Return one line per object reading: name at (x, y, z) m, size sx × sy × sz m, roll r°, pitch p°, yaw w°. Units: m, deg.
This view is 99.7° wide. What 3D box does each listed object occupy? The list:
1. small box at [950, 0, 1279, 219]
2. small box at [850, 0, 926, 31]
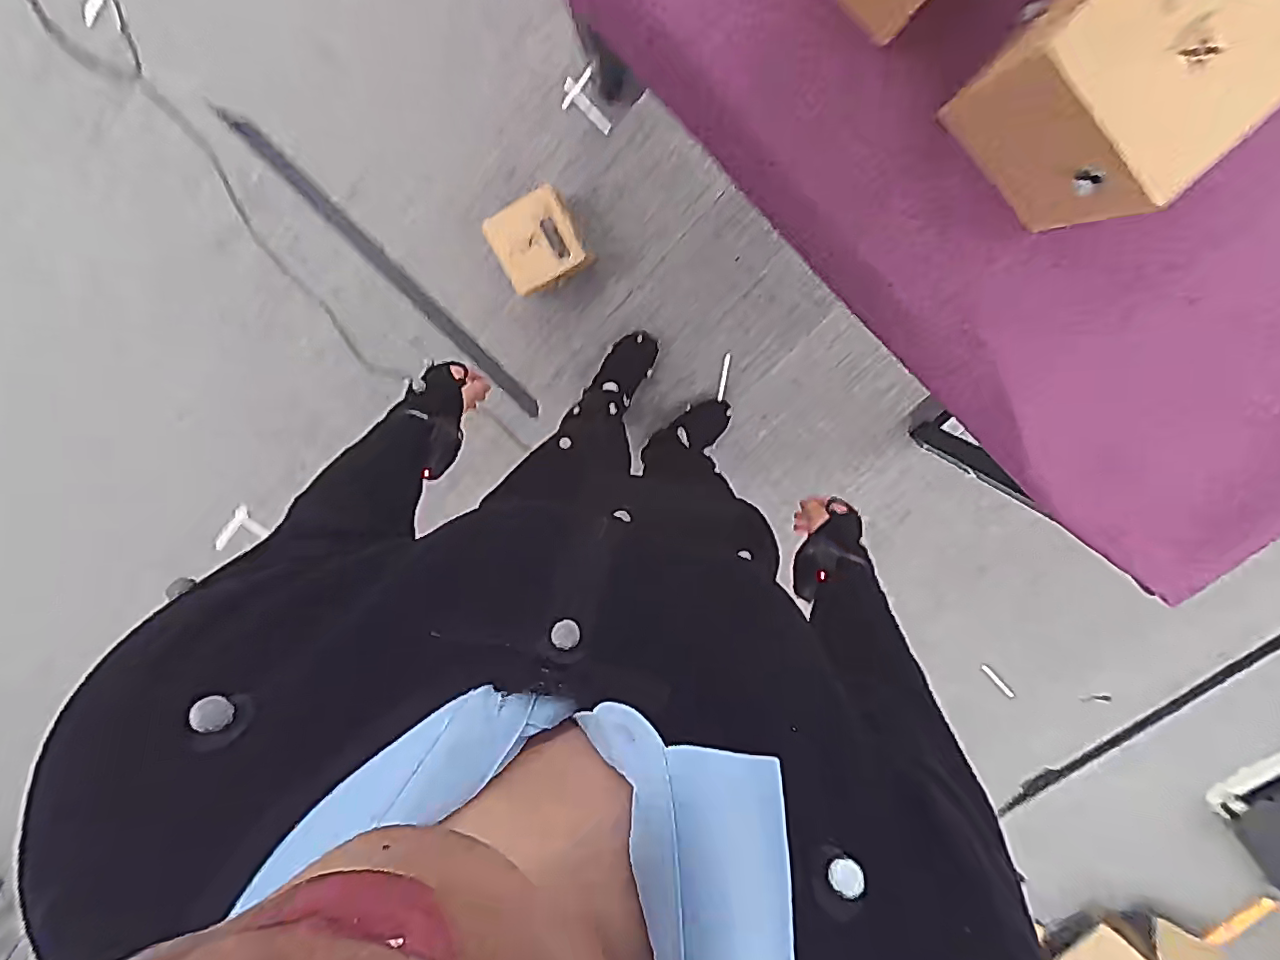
small box at (0.440, -0.368, 0.500) m, size 0.179 × 0.176 × 0.168 m, roll 42°, pitch 104°, yaw -11°
small box at (0.243, -0.541, 0.451) m, size 0.179 × 0.176 × 0.168 m, roll 40°, pitch 105°, yaw -12°
